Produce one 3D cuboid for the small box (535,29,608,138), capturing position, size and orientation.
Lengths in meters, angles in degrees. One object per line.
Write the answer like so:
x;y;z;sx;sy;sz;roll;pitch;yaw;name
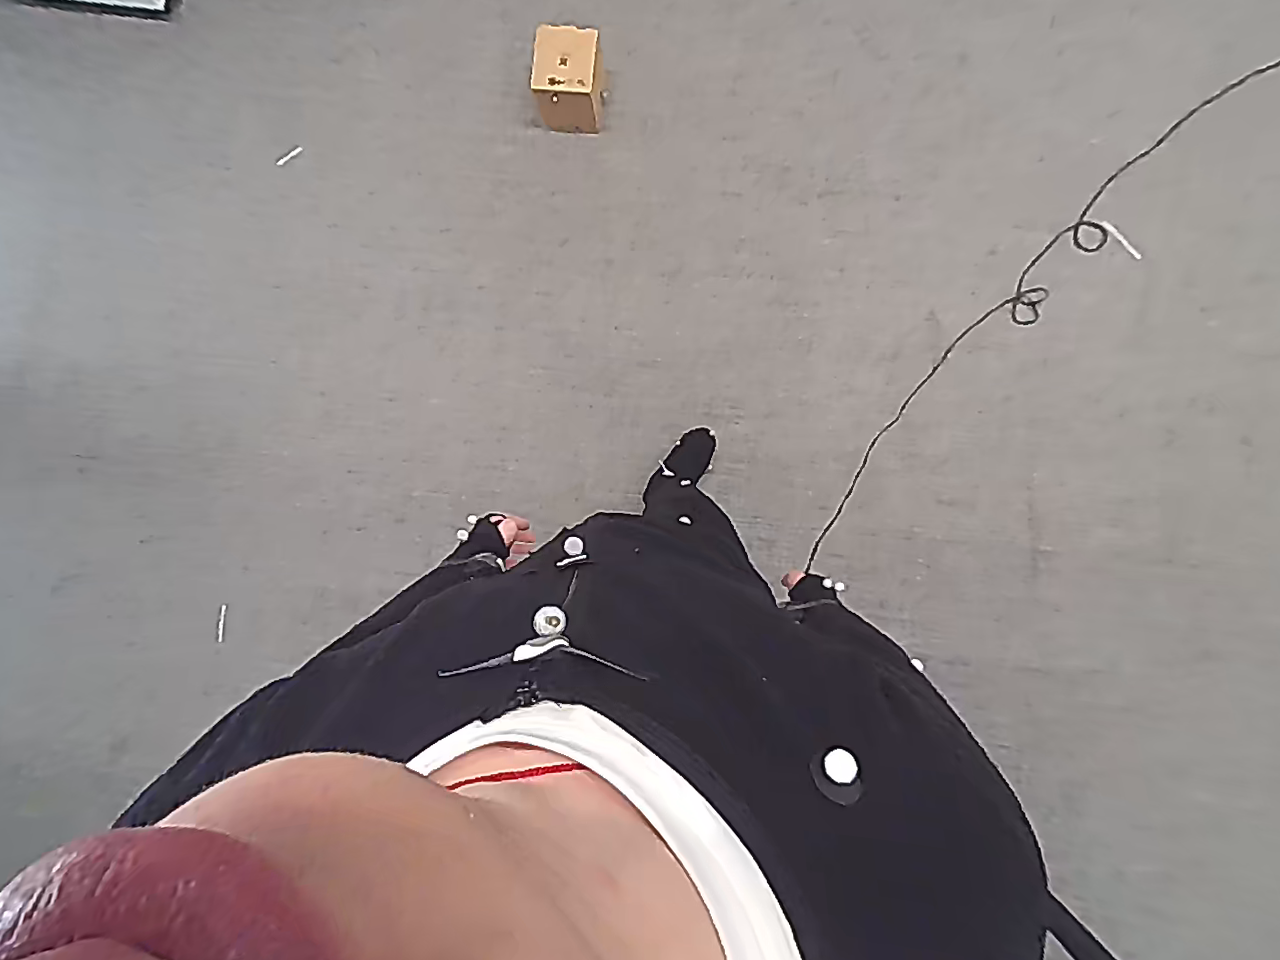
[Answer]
-0.186;-1.108;1.518;0.168;0.176;0.179;8;88;4;small box
